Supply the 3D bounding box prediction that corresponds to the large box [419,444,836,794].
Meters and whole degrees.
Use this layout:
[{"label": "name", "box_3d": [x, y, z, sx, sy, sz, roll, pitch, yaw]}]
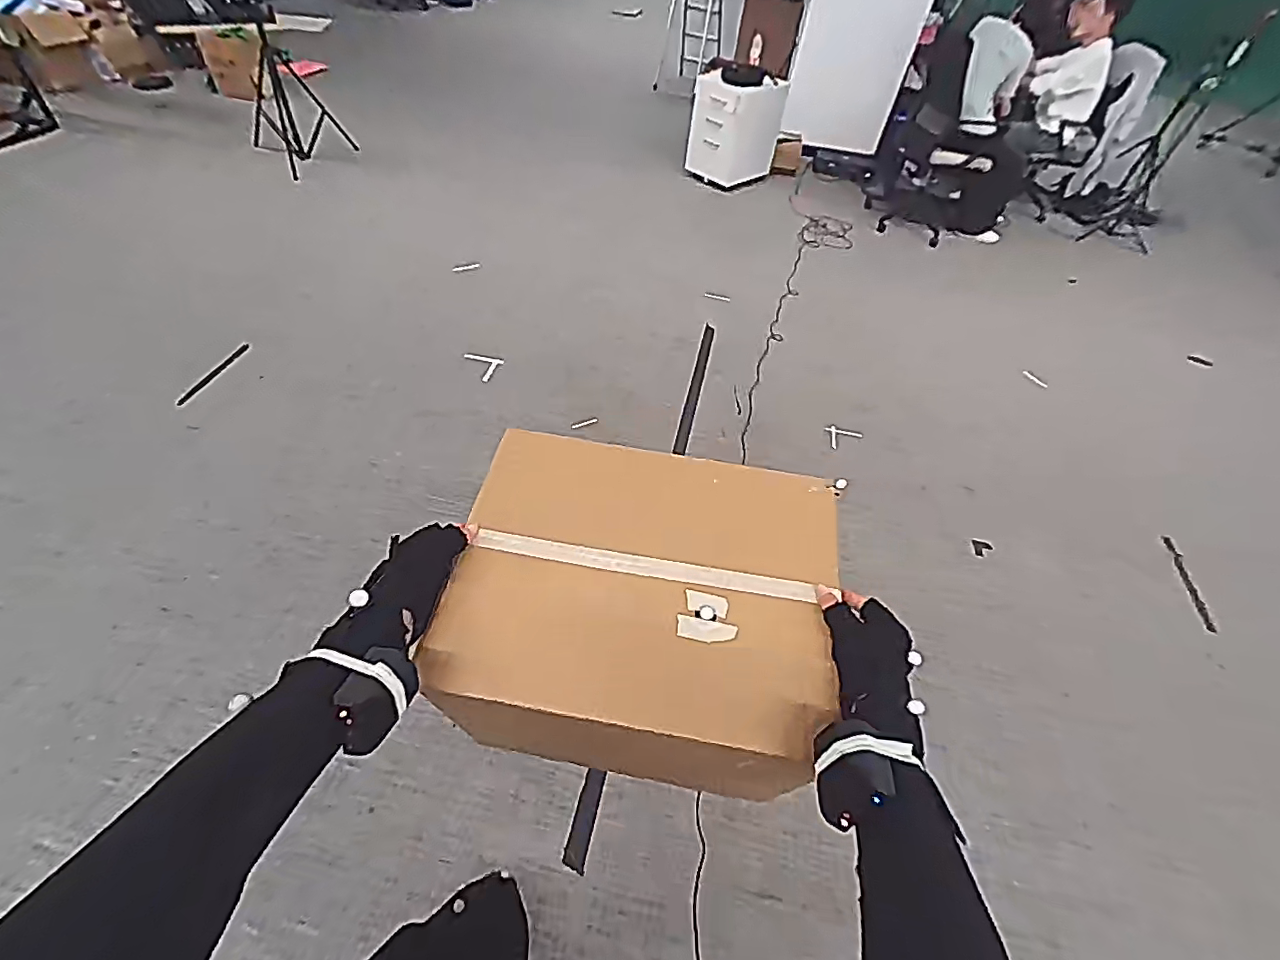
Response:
[{"label": "large box", "box_3d": [-0.004, 0.189, 0.708, 0.408, 0.320, 0.320, 9, 55, 3]}]
